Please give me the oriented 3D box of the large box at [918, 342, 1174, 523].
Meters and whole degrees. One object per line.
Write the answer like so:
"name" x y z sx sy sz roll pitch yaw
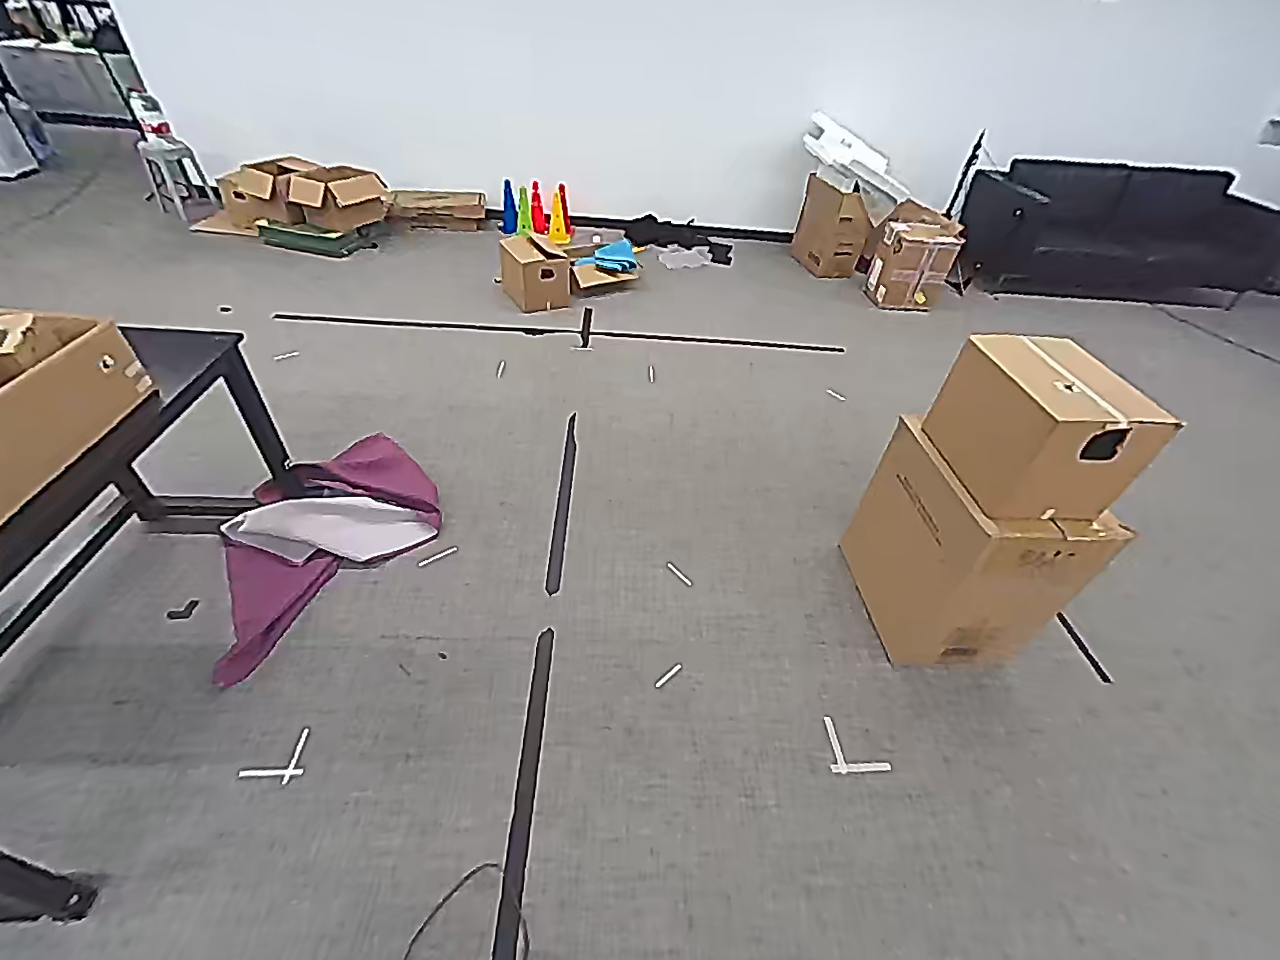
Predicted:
"large box" 1.037 -0.132 1.456 0.320 0.320 0.408 0 42 -6
